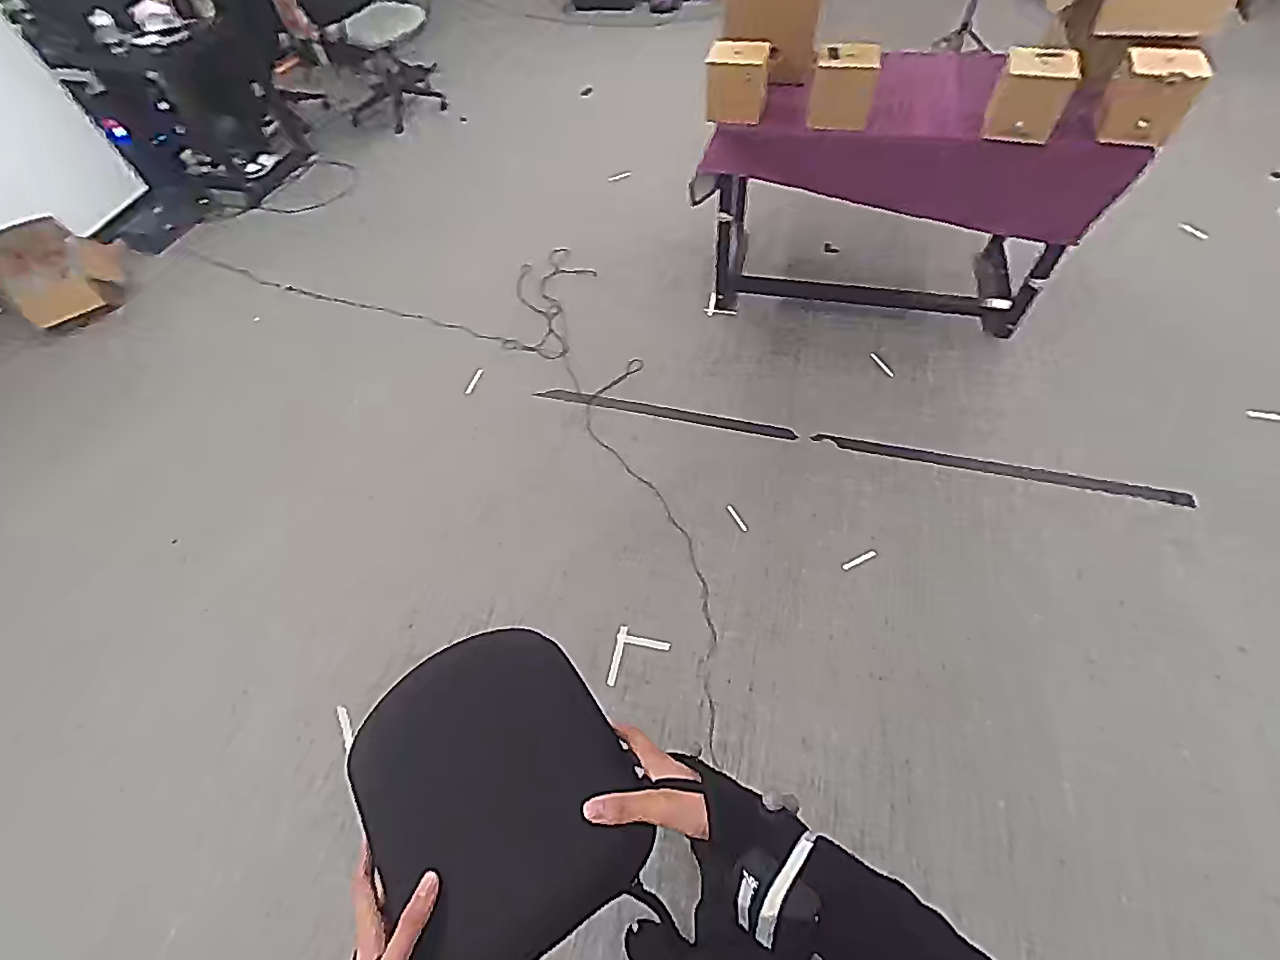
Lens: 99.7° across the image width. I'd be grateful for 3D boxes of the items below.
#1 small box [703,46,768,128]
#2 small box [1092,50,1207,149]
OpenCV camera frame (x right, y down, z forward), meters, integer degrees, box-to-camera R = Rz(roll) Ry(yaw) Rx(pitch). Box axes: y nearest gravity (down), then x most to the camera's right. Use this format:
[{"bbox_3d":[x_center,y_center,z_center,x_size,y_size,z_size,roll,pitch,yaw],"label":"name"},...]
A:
[{"bbox_3d":[0.302,-1.256,1.730,0.179,0.176,0.168,11,58,11],"label":"small box"},{"bbox_3d":[1.380,-1.042,1.481,0.168,0.176,0.179,15,59,16],"label":"small box"}]
